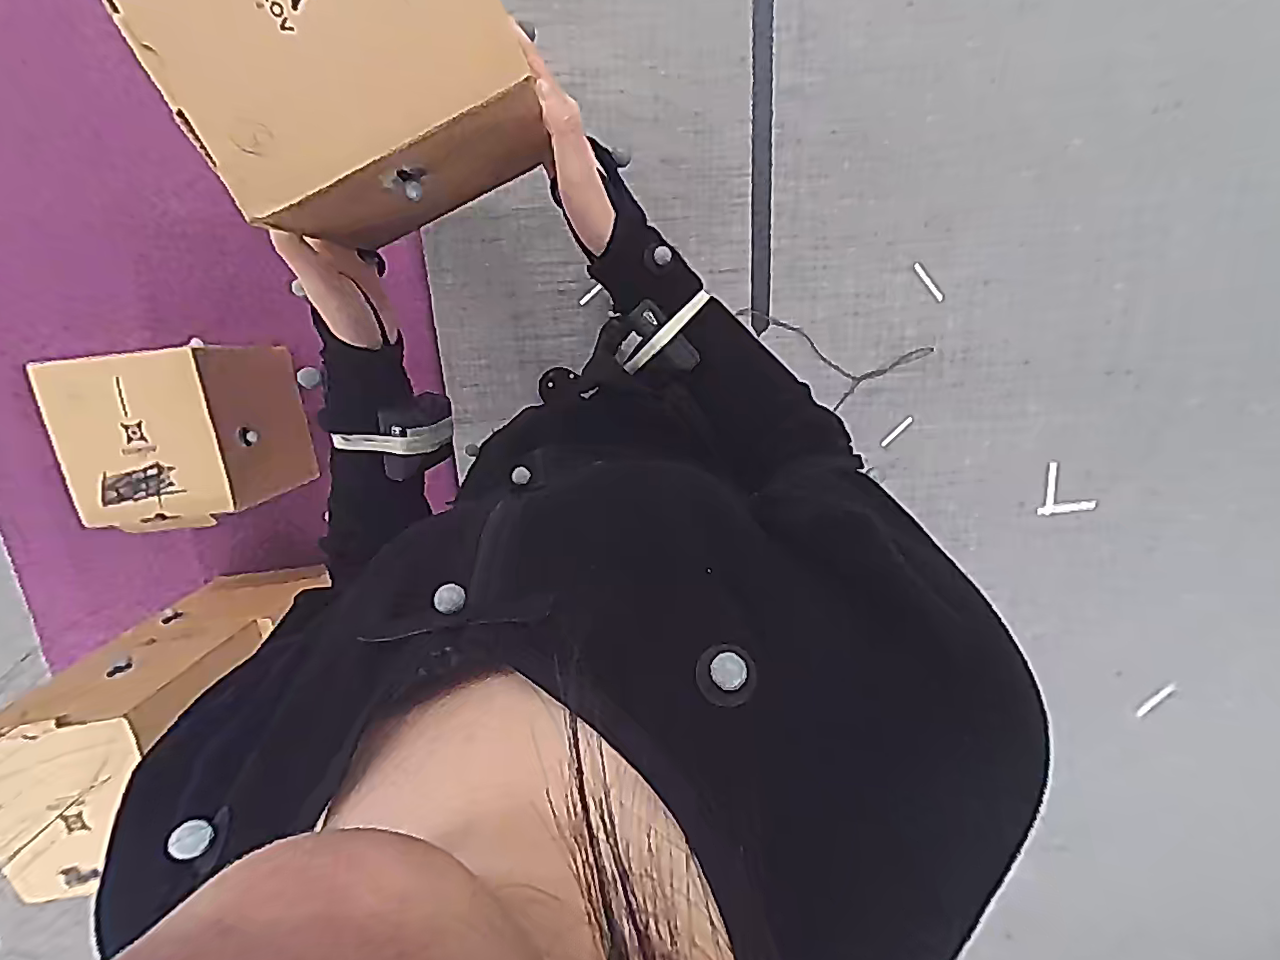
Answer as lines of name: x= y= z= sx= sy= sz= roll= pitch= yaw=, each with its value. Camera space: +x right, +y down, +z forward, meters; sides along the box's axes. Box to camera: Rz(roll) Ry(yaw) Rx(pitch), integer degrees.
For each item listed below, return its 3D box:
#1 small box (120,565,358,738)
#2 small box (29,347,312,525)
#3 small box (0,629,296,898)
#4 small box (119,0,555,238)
small box: x=-0.499 y=0.223 z=0.711 sx=0.179 sy=0.176 sz=0.168 roll=-8 pitch=104 yaw=0
small box: x=-0.524 y=-0.061 z=0.638 sx=0.168 sy=0.176 sz=0.179 roll=-6 pitch=103 yaw=-1
small box: x=-0.499 y=0.269 z=0.553 sx=0.168 sy=0.176 sz=0.179 roll=-9 pitch=103 yaw=0
small box: x=-0.169 y=-0.271 z=0.340 sx=0.179 sy=0.176 sz=0.168 roll=-24 pitch=109 yaw=4
